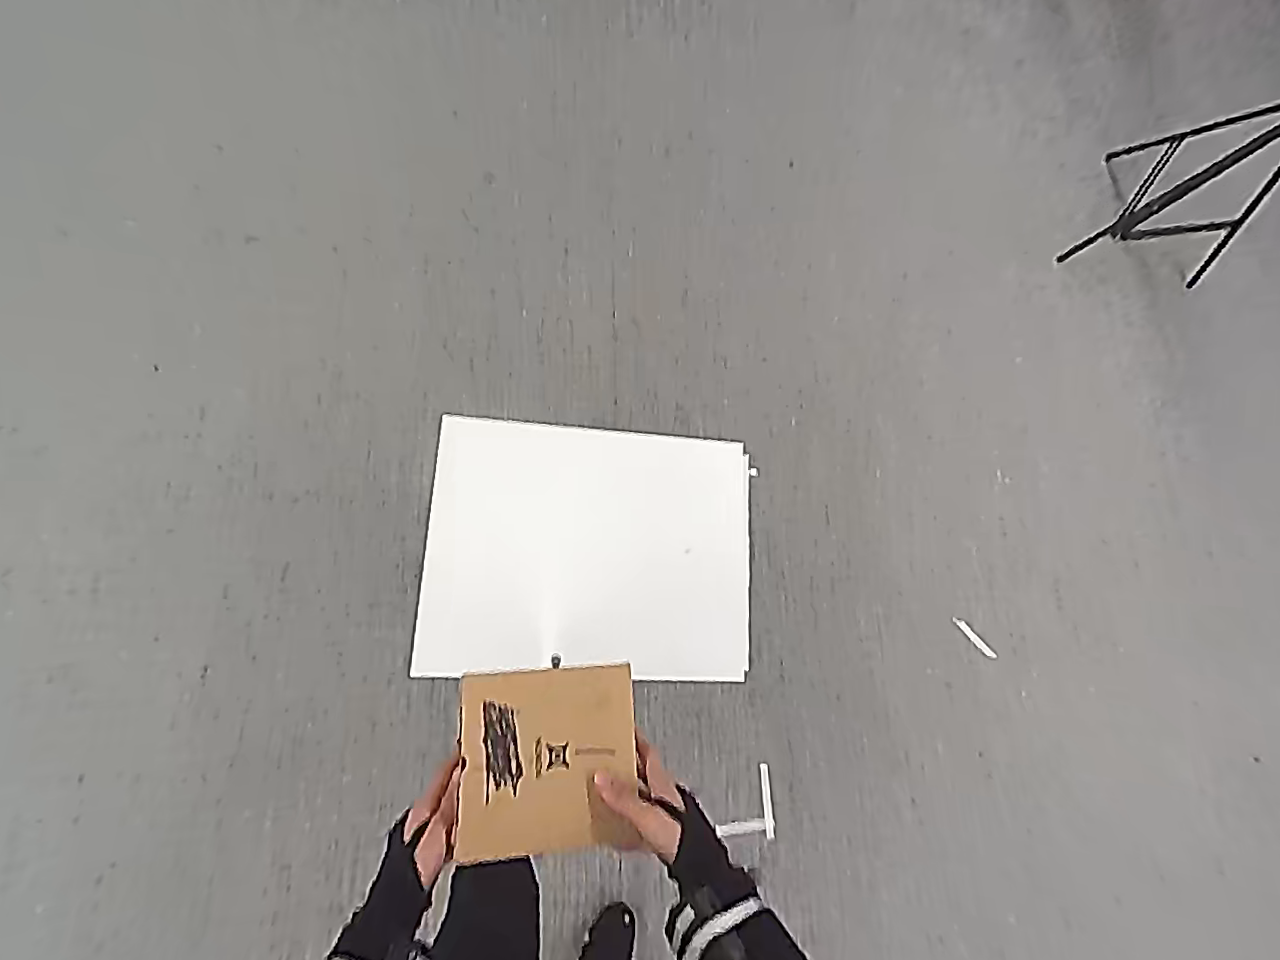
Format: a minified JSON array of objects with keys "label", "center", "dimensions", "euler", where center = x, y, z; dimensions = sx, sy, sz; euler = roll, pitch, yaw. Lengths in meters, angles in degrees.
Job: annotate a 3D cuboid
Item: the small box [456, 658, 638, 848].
[{"label":"small box","center":[-0.102,0.296,0.617],"dimensions":[0.179,0.176,0.168],"euler":[0,70,-10]}]
